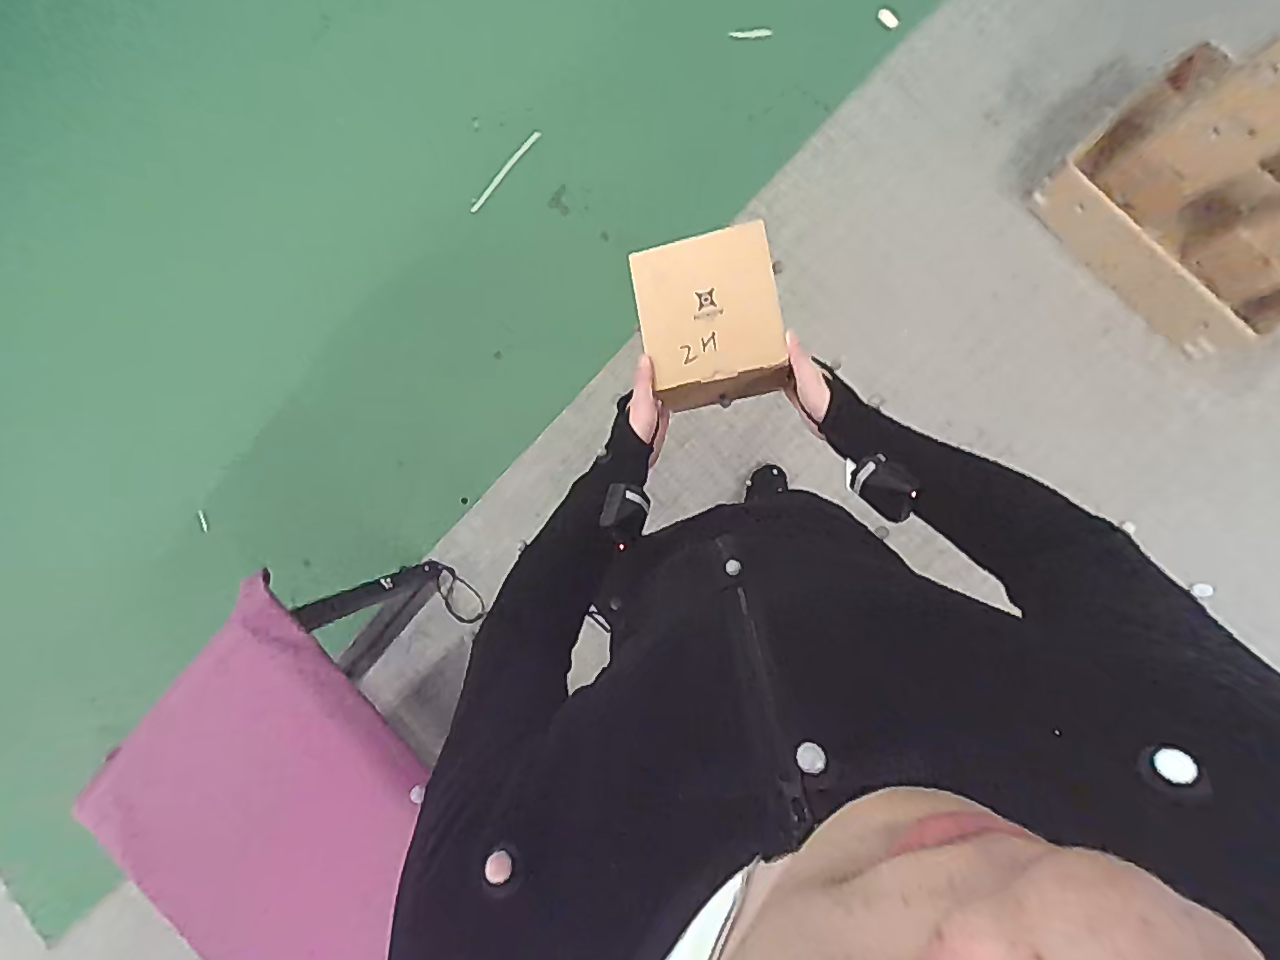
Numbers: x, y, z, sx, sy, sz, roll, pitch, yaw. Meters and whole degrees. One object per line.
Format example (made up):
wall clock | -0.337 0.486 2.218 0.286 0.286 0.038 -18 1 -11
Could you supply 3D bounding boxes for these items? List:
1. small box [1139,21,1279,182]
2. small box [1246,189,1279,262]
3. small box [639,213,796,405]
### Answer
small box | 1.220 -0.774 1.126 0.168 0.176 0.179 43 98 6
small box | 1.436 -0.568 1.102 0.179 0.176 0.168 -41 87 10
small box | 0.104 -0.209 0.711 0.168 0.176 0.179 -9 87 12
